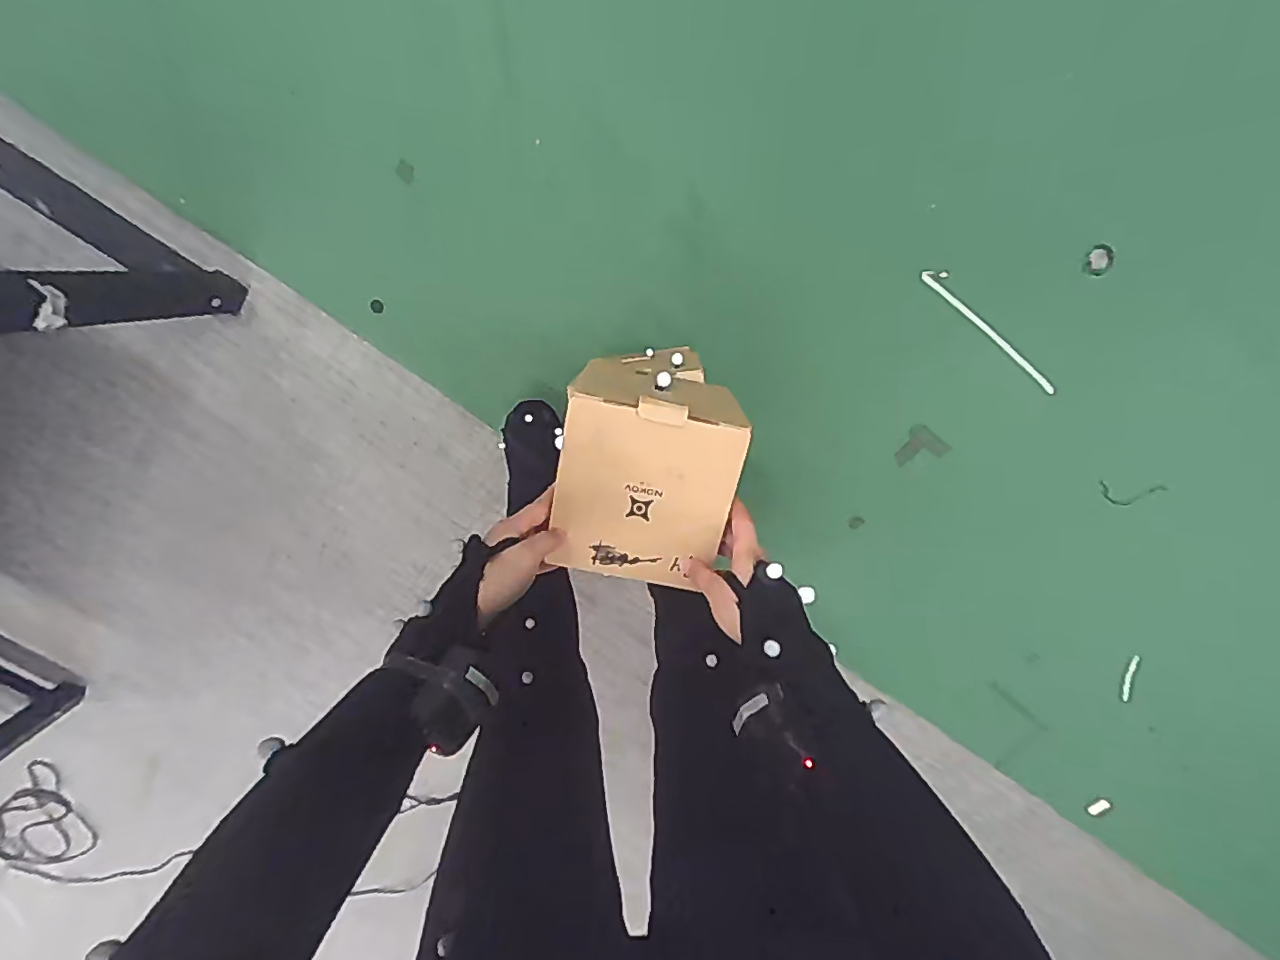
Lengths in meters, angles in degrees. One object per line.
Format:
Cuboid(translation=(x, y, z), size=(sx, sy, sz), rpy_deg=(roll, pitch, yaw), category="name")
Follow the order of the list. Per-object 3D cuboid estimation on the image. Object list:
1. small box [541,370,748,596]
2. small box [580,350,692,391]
Cuboid(translation=(-0.001, -0.007, 0.572), size=(0.168, 0.176, 0.179), rpy_deg=(11, 112, -4), category="small box")
Cuboid(translation=(0.007, -0.109, 0.895), size=(0.168, 0.176, 0.179), rpy_deg=(-7, 110, 6), category="small box")
